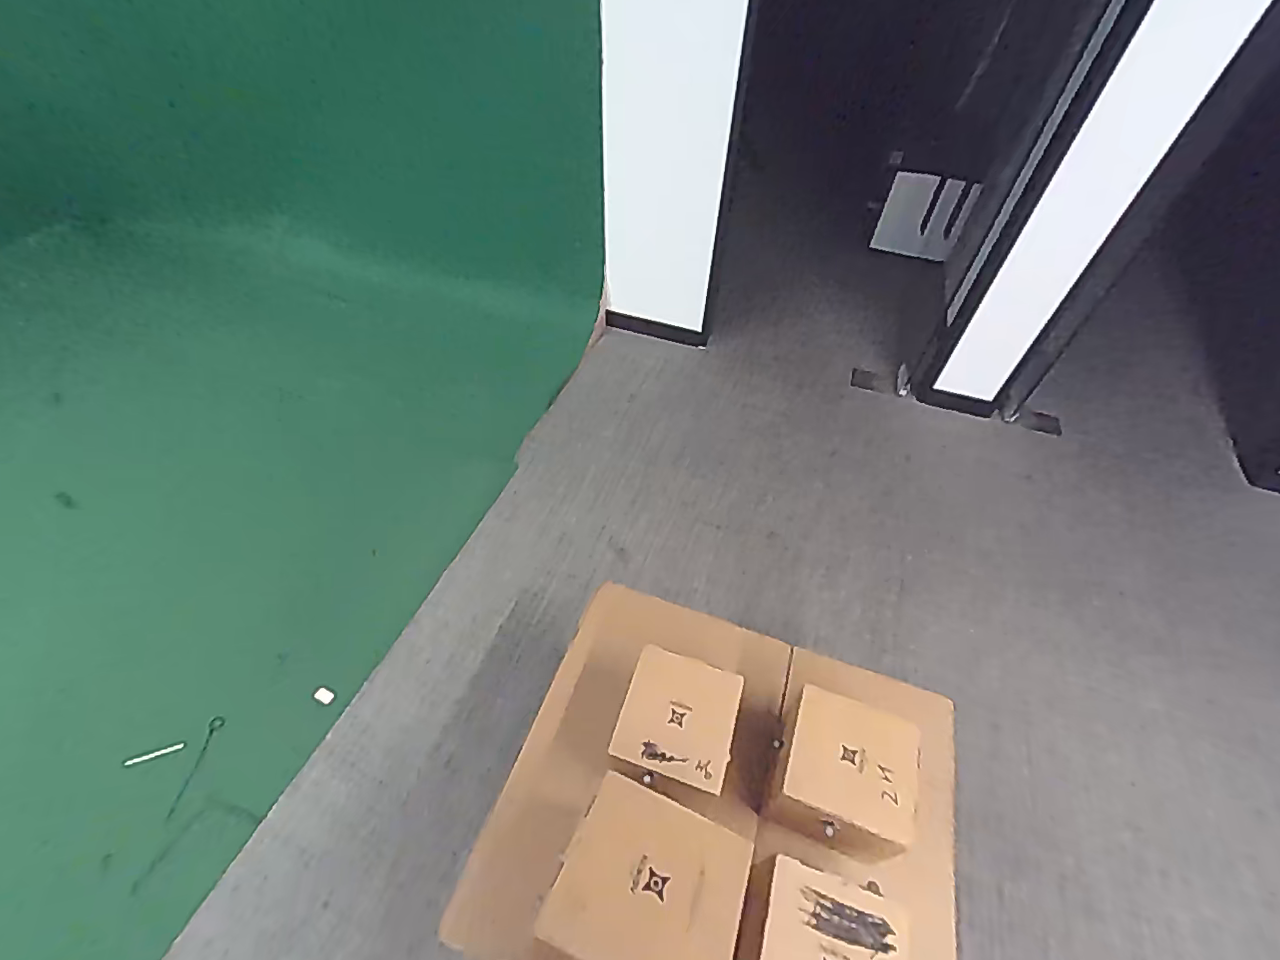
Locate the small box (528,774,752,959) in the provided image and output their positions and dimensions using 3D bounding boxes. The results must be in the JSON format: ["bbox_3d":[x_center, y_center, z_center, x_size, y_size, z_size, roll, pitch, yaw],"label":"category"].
[{"bbox_3d":[-0.004,0.457,0.557,0.179,0.176,0.168,20,31,14],"label":"small box"}]

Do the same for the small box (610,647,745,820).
[{"bbox_3d":[0.057,0.400,0.853,0.168,0.176,0.179,14,49,12],"label":"small box"}]
